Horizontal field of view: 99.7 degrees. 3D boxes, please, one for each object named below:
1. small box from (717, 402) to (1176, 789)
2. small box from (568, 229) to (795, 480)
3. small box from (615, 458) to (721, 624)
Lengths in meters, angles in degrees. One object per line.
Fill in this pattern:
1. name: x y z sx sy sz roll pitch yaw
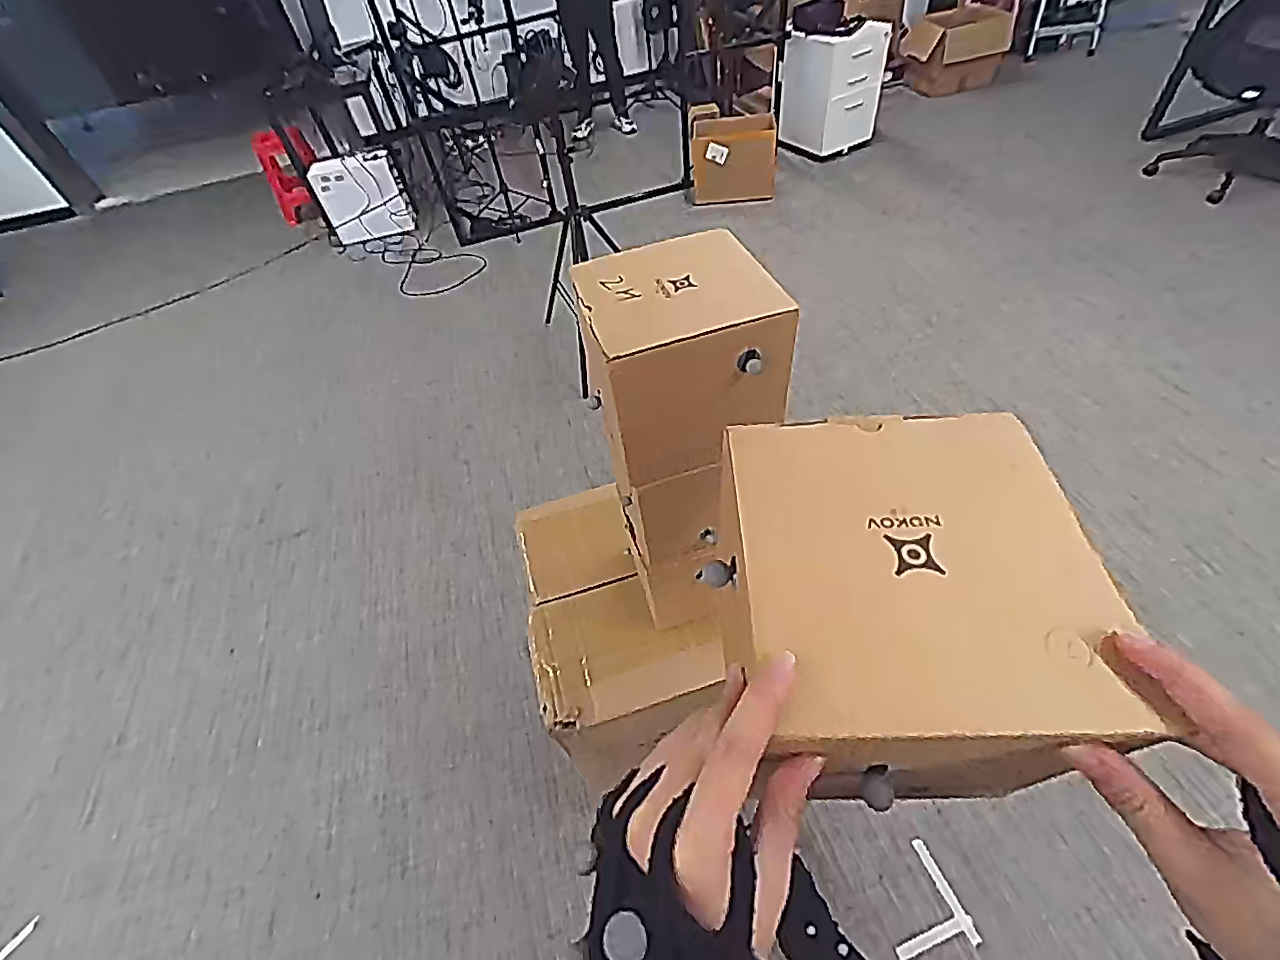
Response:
1. small box: 0.136 0.077 0.327 0.168 0.176 0.179 -3 50 4
2. small box: 0.038 -0.128 0.564 0.179 0.176 0.168 -17 49 -6
3. small box: 0.076 0.091 0.808 0.179 0.176 0.168 -16 49 -6
